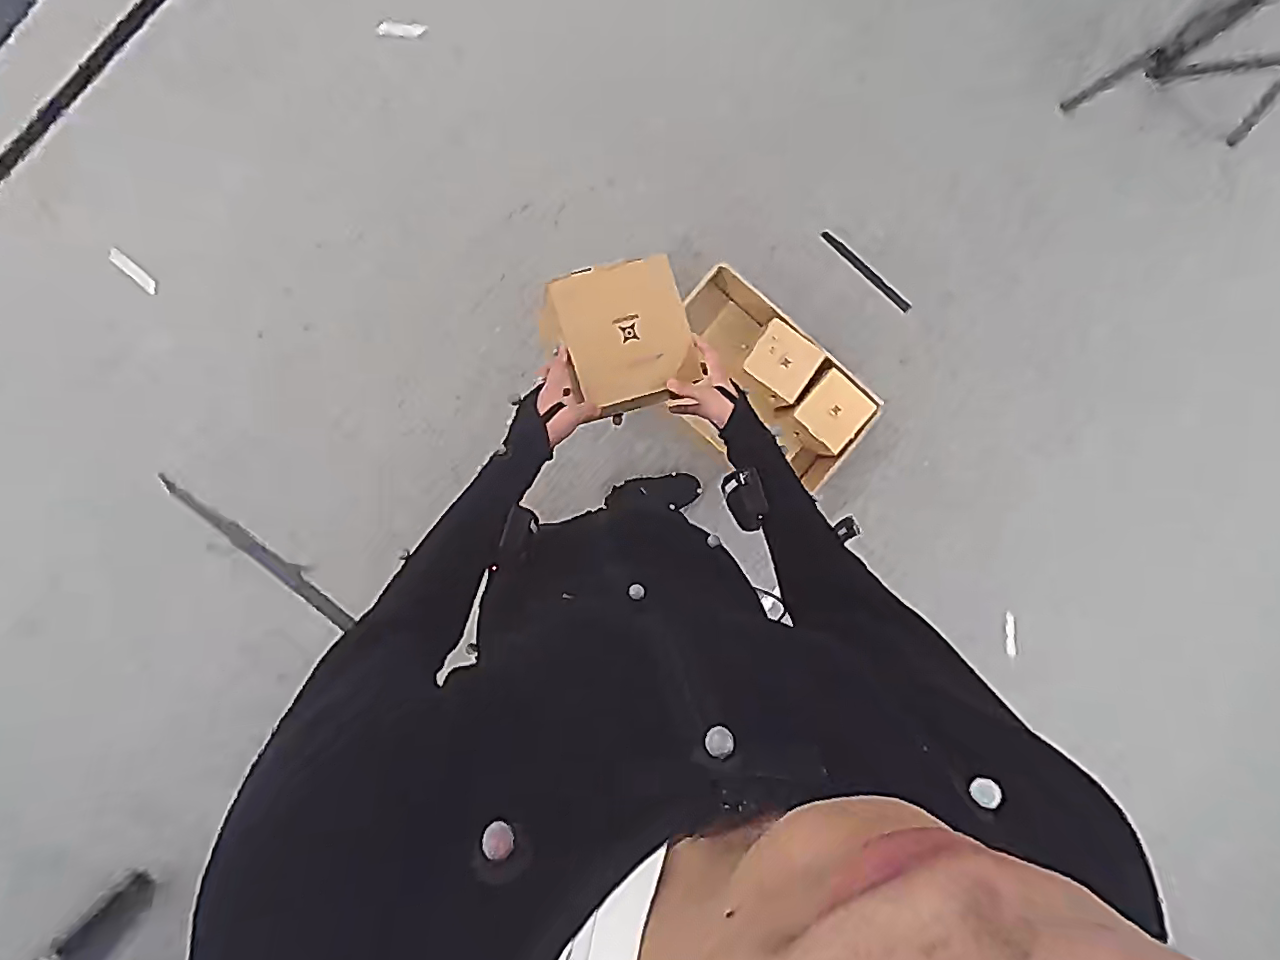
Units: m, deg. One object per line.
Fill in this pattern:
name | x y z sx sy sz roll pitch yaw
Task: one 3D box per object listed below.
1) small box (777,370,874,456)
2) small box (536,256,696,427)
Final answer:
small box | 0.521 -0.188 1.546 0.168 0.176 0.179 41 91 -4
small box | -0.044 -0.187 0.771 0.168 0.176 0.179 -18 93 -14
